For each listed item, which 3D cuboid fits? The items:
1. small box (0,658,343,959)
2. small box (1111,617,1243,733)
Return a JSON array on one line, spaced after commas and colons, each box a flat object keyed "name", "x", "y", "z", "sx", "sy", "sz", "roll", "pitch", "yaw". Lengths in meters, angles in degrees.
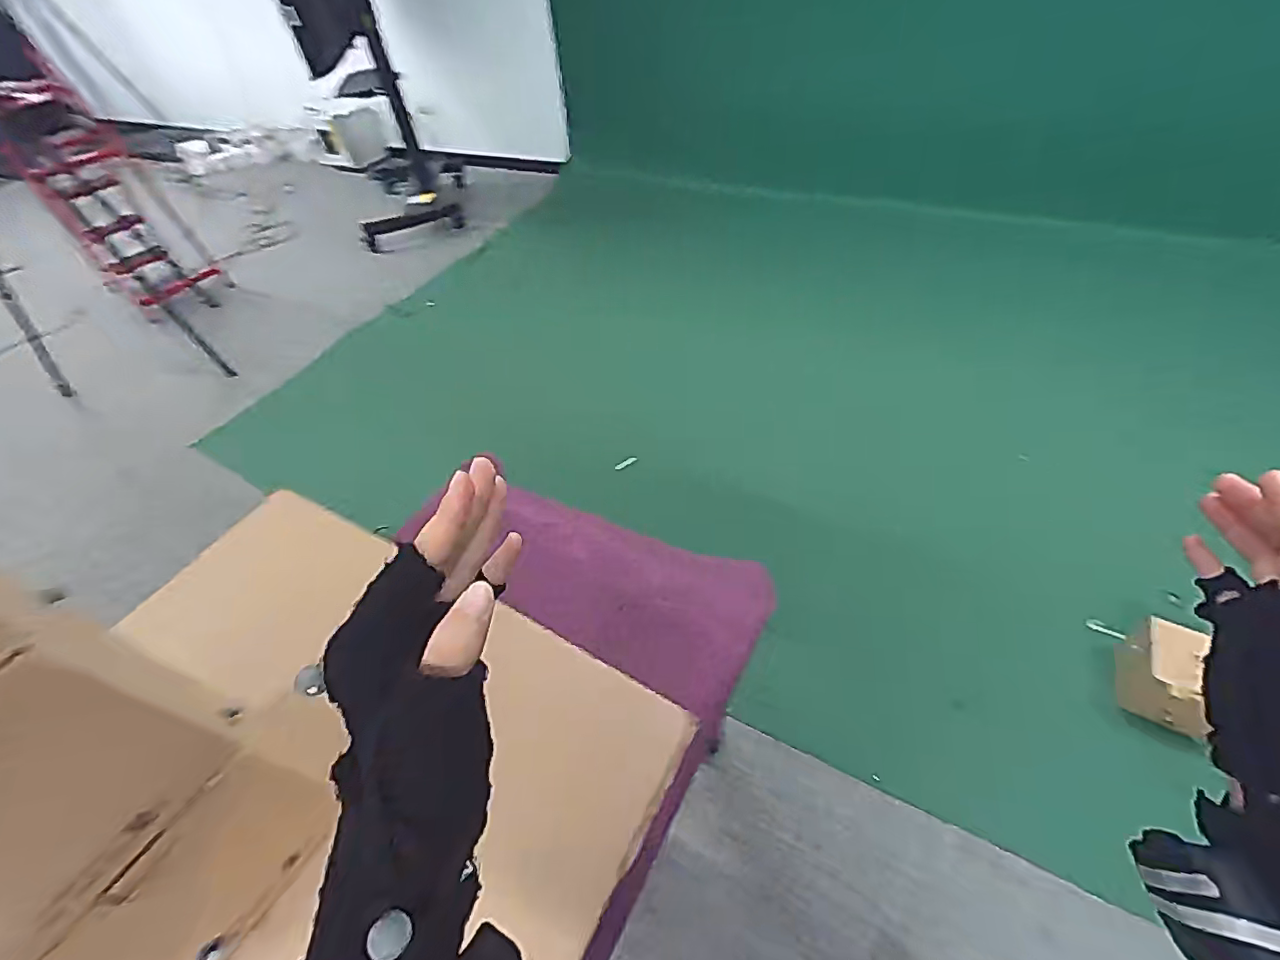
[{"name": "small box", "x": -0.396, "y": 0.287, "z": 0.451, "sx": 0.179, "sy": 0.176, "sz": 0.168, "roll": 20, "pitch": 54, "yaw": 25}, {"name": "small box", "x": 1.269, "y": 0.467, "z": 1.293, "sx": 0.168, "sy": 0.176, "sz": 0.179, "roll": 21, "pitch": 54, "yaw": 23}]
